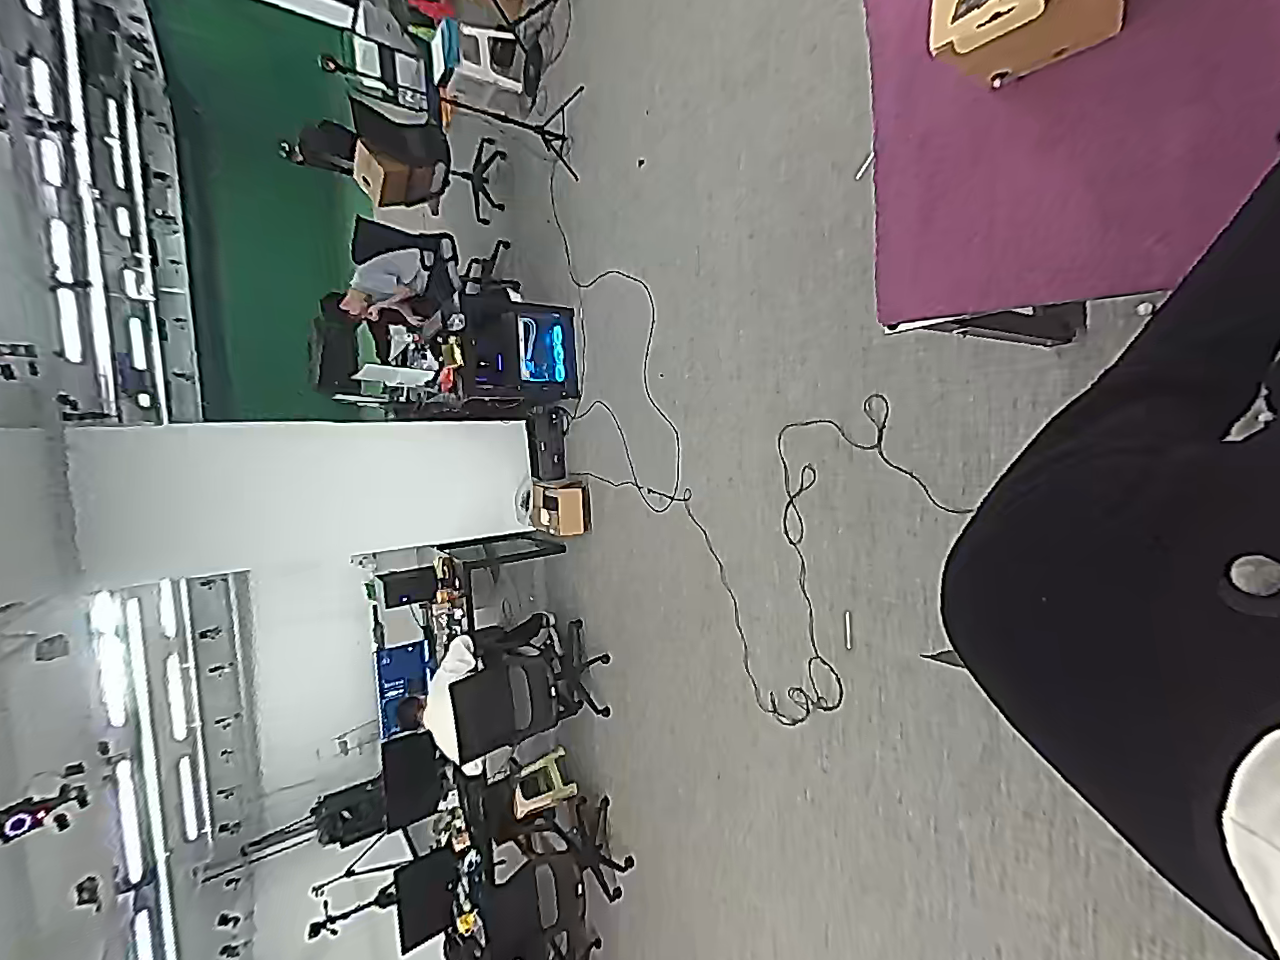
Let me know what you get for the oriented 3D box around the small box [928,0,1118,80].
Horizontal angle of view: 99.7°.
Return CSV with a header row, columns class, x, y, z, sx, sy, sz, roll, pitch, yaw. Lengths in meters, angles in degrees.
class,x,y,z,sx,sy,sz,roll,pitch,yaw
small box,0.506,-0.666,0.709,0.168,0.176,0.179,11,104,54
